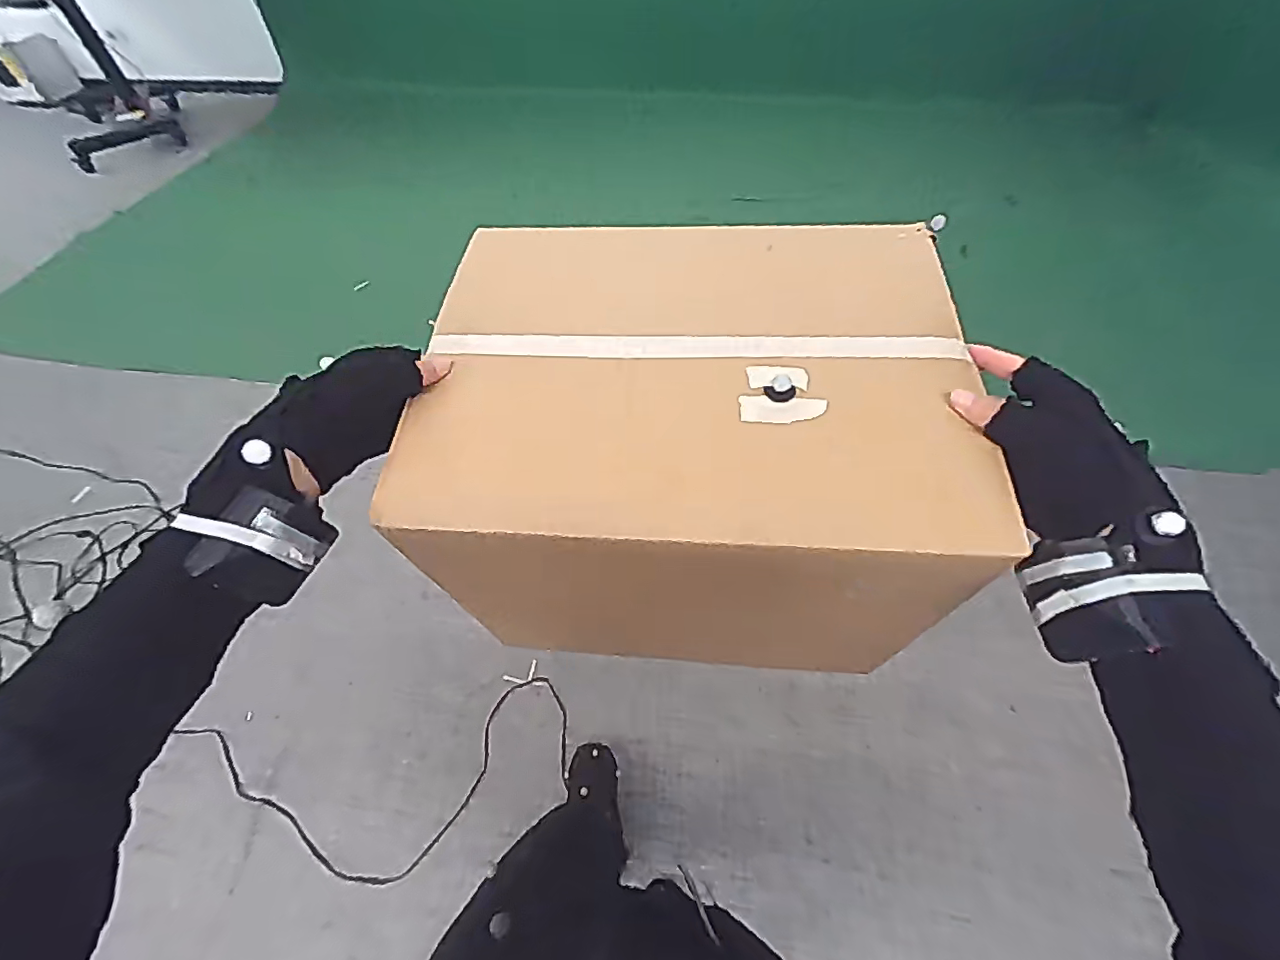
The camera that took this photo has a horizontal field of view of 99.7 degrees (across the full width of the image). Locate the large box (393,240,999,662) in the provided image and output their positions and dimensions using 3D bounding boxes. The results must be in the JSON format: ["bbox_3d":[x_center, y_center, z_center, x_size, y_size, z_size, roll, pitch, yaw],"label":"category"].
[{"bbox_3d":[0.045,-0.012,0.554,0.408,0.320,0.320,2,59,6],"label":"large box"}]
